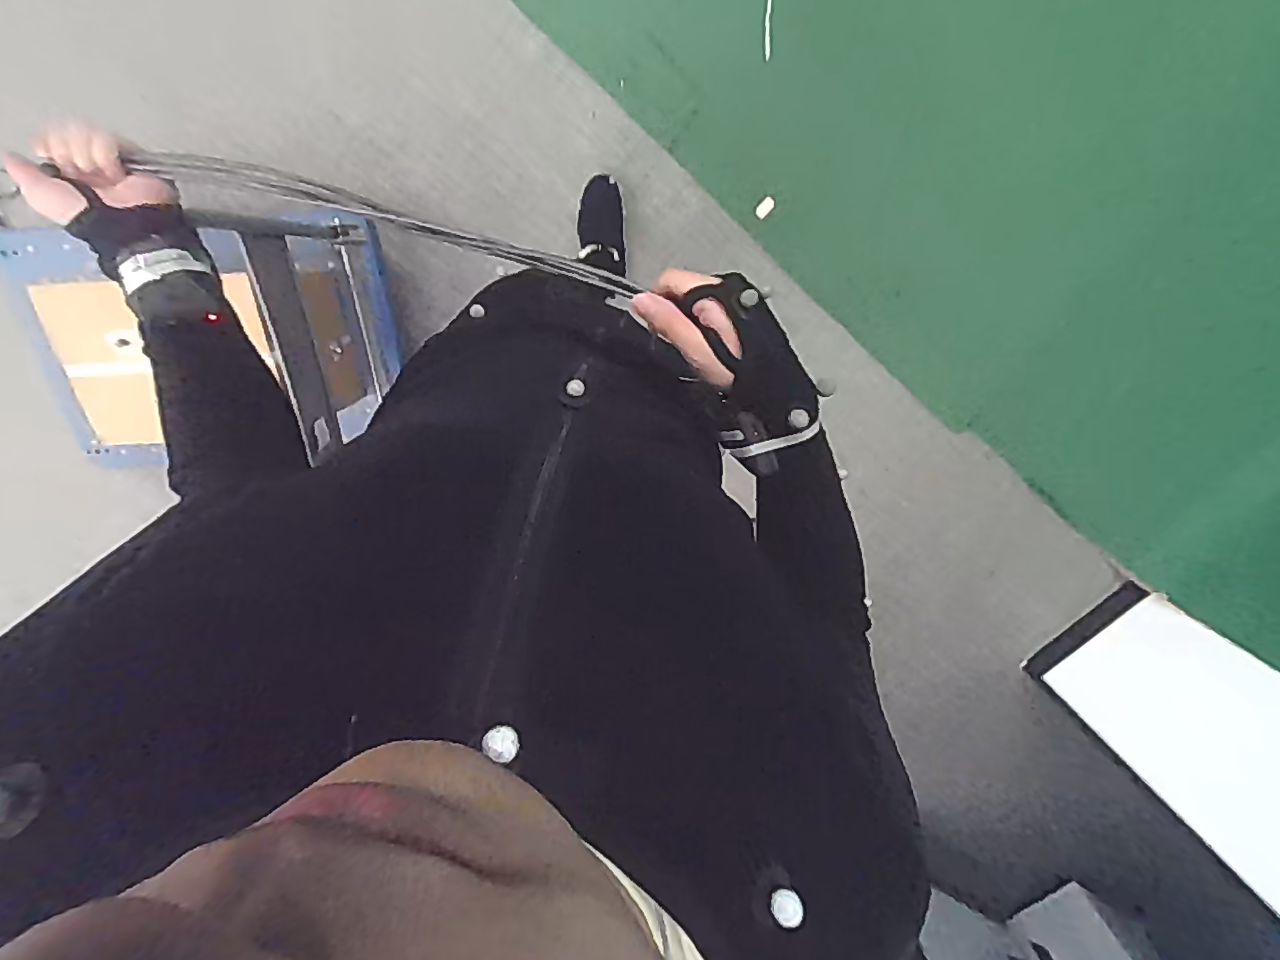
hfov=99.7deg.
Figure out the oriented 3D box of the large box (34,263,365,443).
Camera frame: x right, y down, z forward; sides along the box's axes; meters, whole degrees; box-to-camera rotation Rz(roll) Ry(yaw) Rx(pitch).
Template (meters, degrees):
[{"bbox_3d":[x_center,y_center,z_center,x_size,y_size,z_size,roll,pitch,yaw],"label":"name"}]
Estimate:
[{"bbox_3d":[-0.894,-0.288,1.171,0.408,0.320,0.320,-3,112,0],"label":"large box"}]
